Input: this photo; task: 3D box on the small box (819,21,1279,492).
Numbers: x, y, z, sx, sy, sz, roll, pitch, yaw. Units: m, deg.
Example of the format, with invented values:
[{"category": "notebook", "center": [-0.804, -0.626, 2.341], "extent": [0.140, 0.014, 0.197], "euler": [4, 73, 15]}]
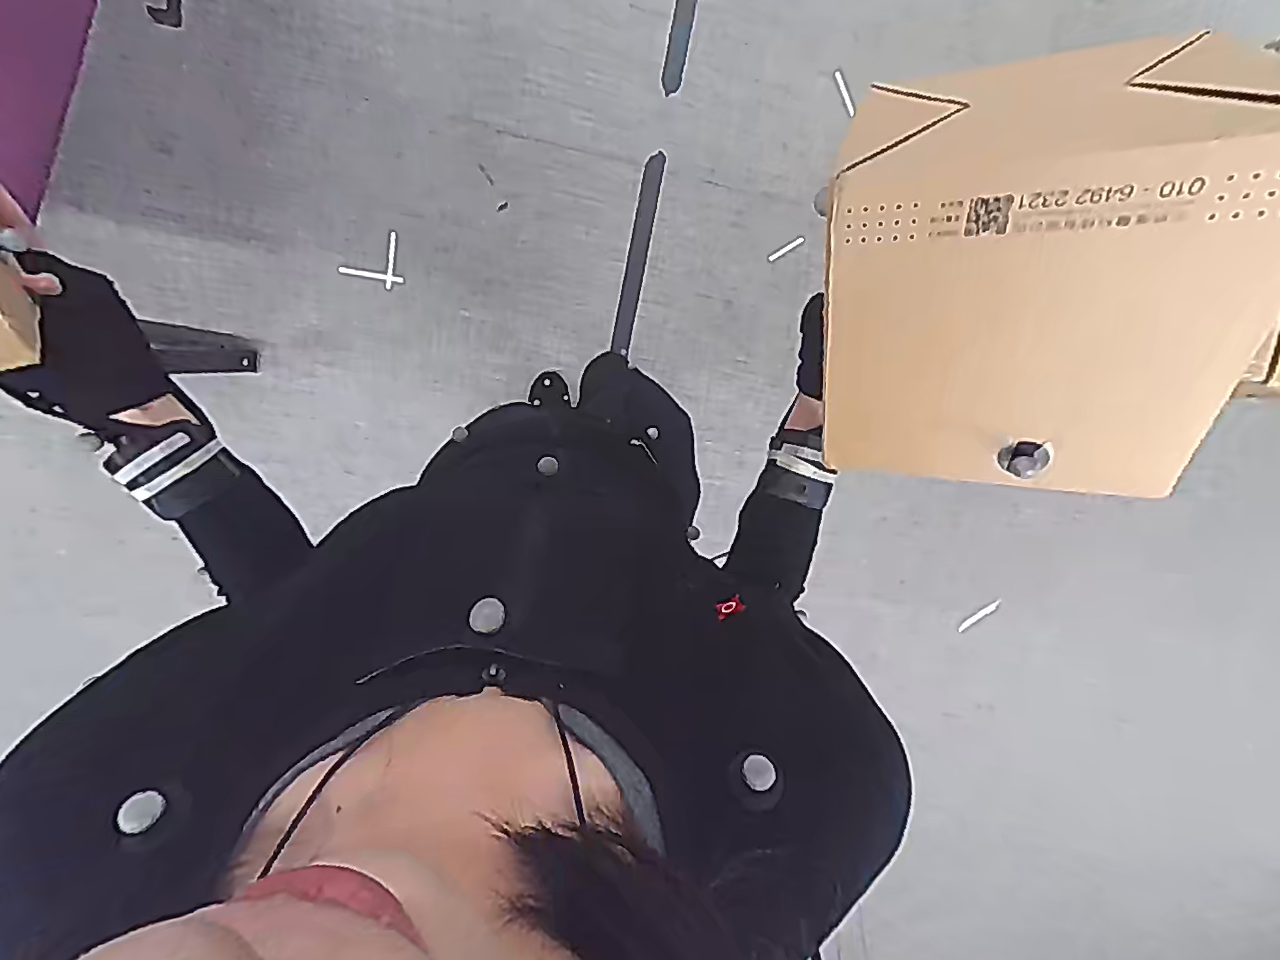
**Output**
[{"category": "small box", "center": [0.196, -0.120, 0.294], "extent": [0.168, 0.179, 0.176], "euler": [7, 137, 24]}]

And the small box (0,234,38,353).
[{"category": "small box", "center": [-0.399, -0.130, 0.210], "extent": [0.168, 0.179, 0.176], "euler": [-29, 131, -32]}]
